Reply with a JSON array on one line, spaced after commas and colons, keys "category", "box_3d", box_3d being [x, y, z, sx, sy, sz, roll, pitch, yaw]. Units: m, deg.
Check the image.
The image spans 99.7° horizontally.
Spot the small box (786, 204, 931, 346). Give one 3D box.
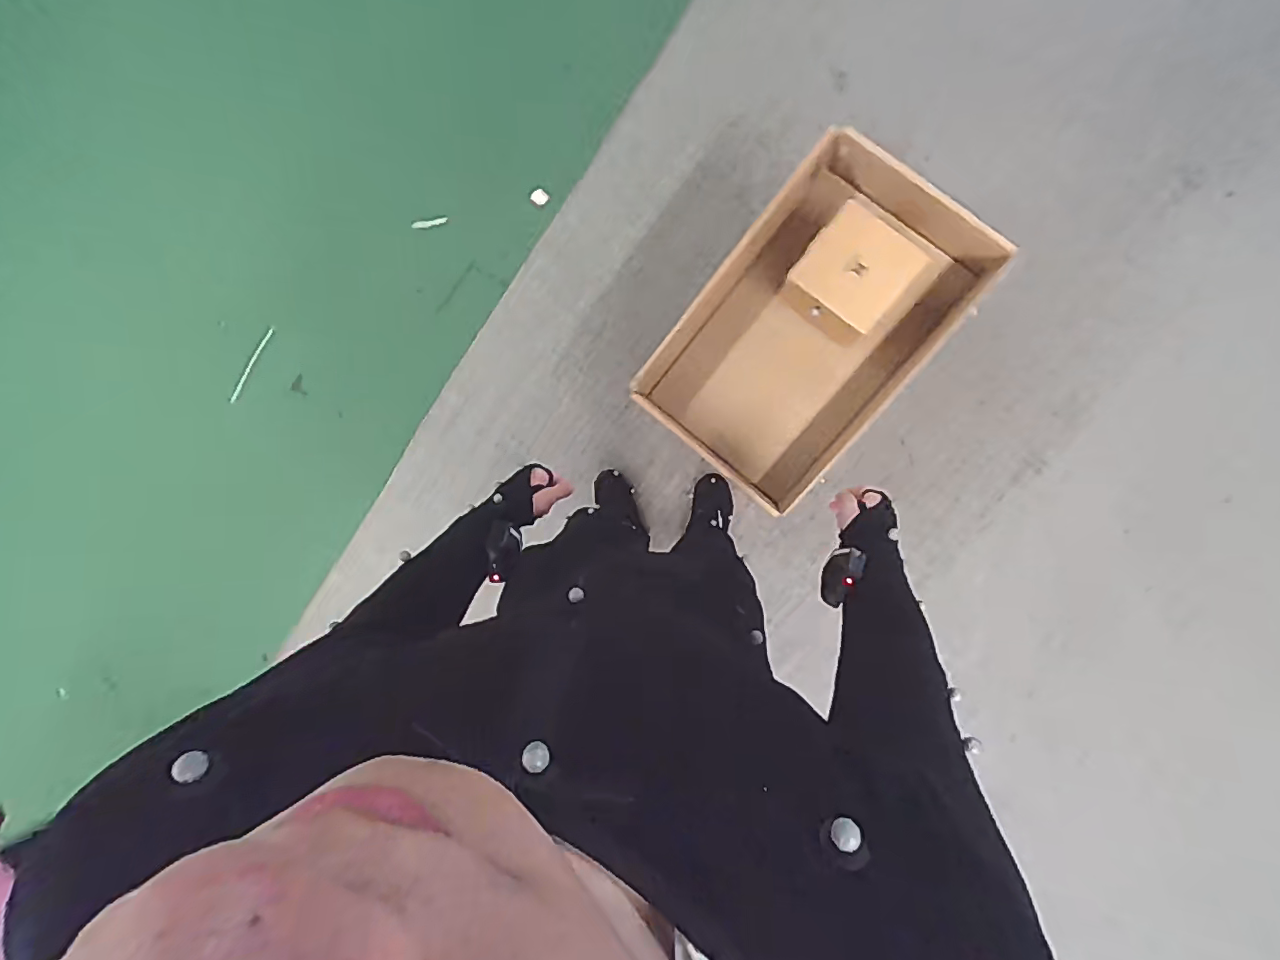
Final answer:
[{"category": "small box", "box_3d": [0.398, -0.371, 1.019, 0.179, 0.176, 0.168, 40, 101, 6]}]
